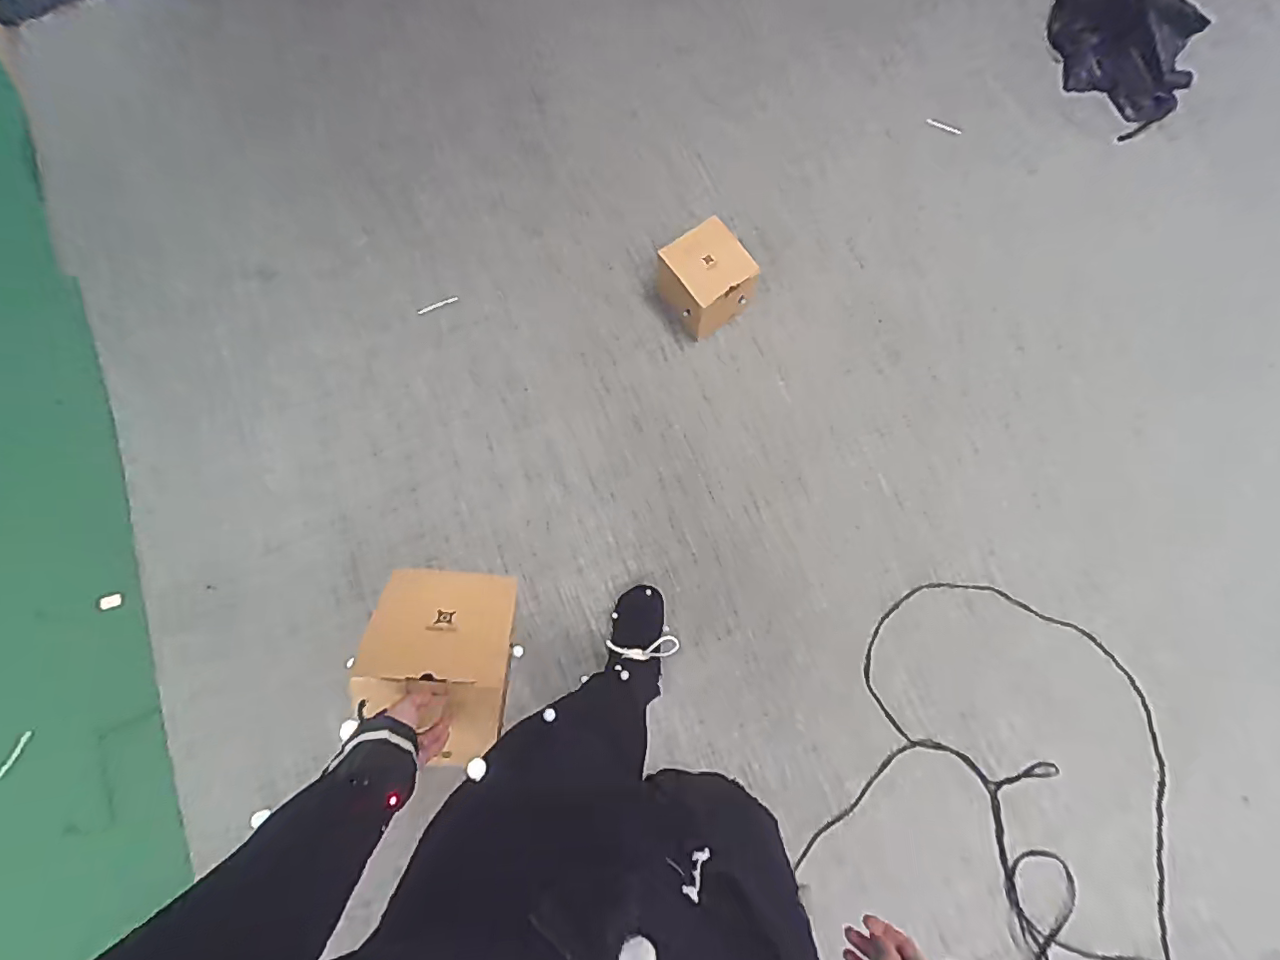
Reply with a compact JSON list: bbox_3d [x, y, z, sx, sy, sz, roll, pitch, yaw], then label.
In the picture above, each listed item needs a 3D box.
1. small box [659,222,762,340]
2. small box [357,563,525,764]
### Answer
[{"bbox_3d":[0.162,-0.460,1.287,0.168,0.176,0.179,-35,78,-6],"label":"small box"},{"bbox_3d":[-0.250,0.236,0.704,0.168,0.179,0.176,8,122,-10],"label":"small box"}]
